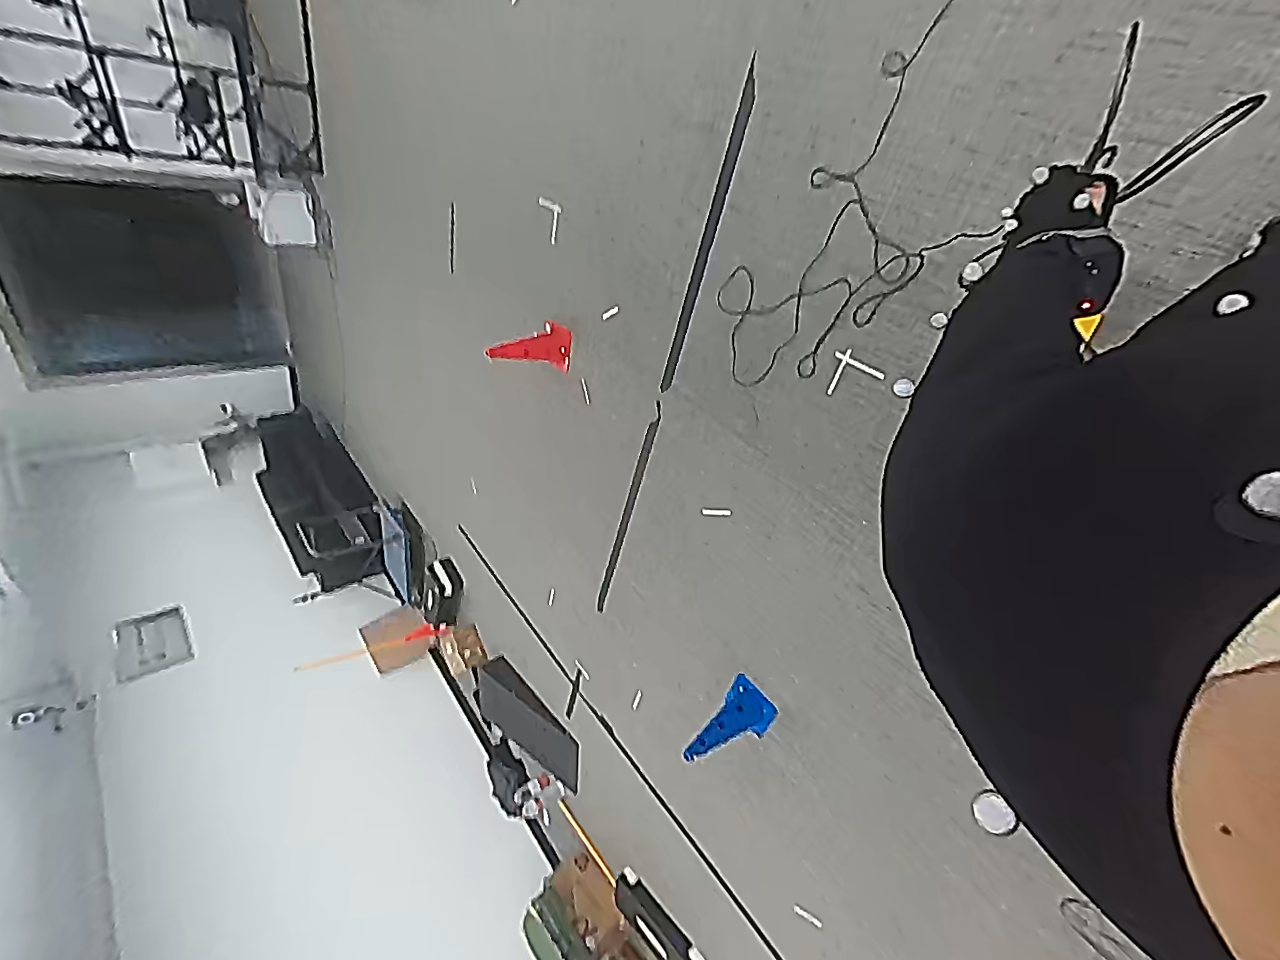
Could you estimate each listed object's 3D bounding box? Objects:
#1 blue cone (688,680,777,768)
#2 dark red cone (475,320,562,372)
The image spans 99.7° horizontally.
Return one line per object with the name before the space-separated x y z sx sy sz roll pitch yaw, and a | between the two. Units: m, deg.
blue cone | 0.306 0.918 1.974 0.192 0.380 0.193 42 133 31
dark red cone | -0.536 -0.576 2.370 0.201 0.394 0.202 35 129 37
